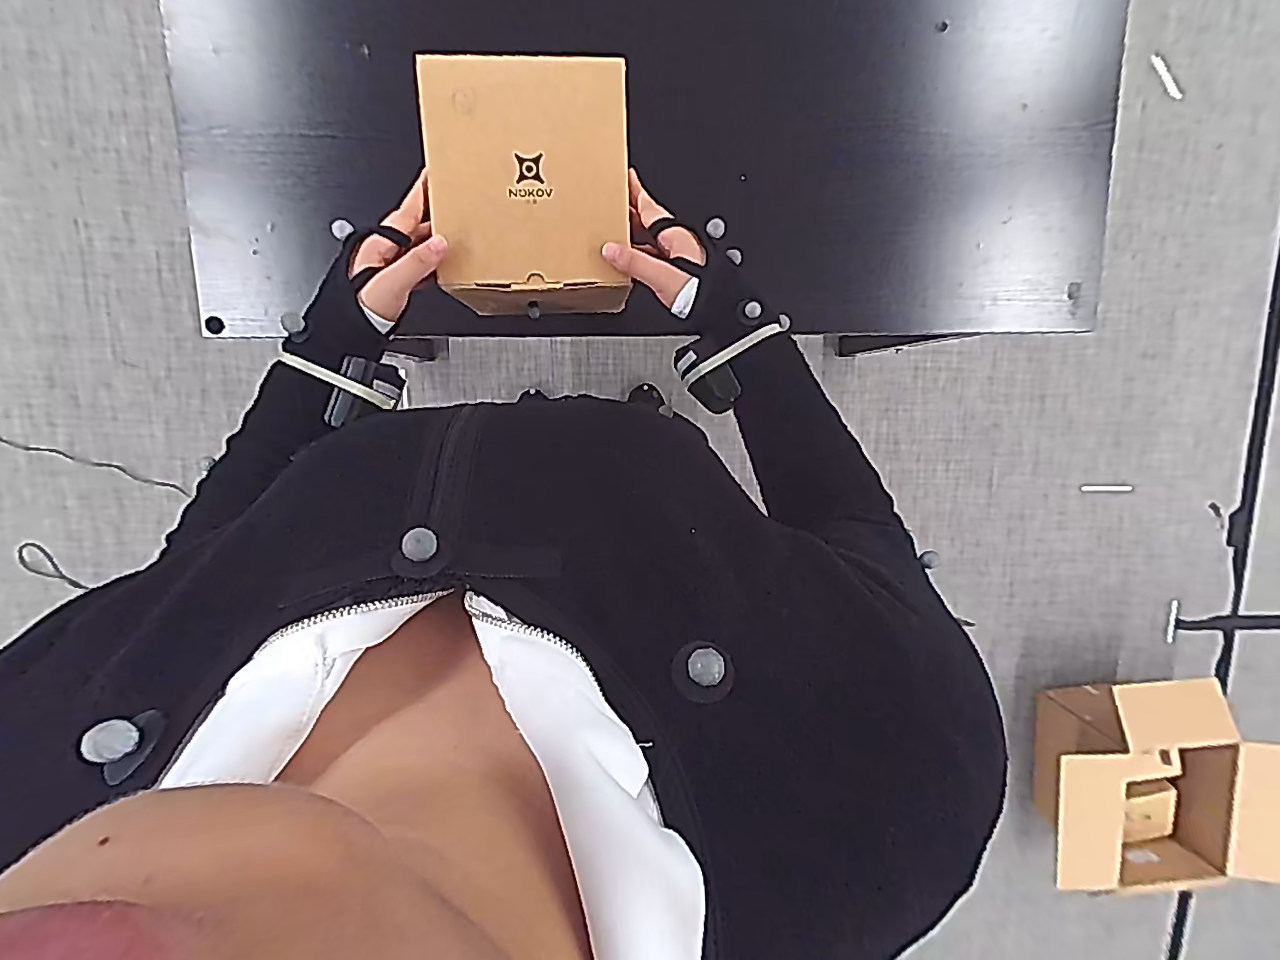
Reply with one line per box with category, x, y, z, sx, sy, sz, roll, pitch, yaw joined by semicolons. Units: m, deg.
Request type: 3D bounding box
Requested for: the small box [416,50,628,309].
small box;-0.101;-0.268;0.522;0.168;0.176;0.179;-3;101;-4
